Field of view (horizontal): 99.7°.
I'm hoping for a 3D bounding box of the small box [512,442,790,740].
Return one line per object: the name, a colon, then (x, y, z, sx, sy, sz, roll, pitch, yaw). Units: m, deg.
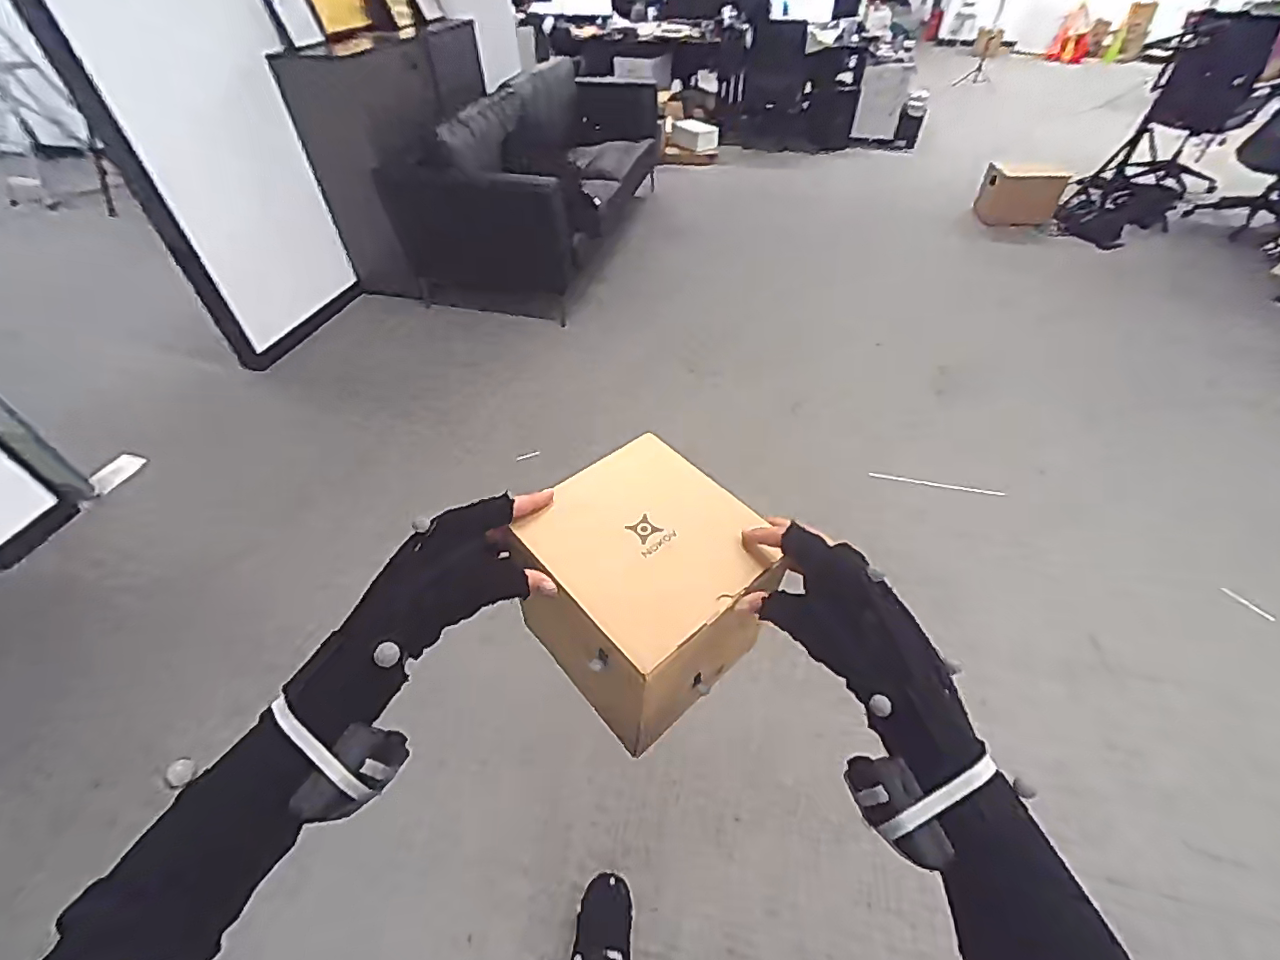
small box: (0.003, 0.101, 0.503, 0.168, 0.176, 0.179, -32, 57, -29)
